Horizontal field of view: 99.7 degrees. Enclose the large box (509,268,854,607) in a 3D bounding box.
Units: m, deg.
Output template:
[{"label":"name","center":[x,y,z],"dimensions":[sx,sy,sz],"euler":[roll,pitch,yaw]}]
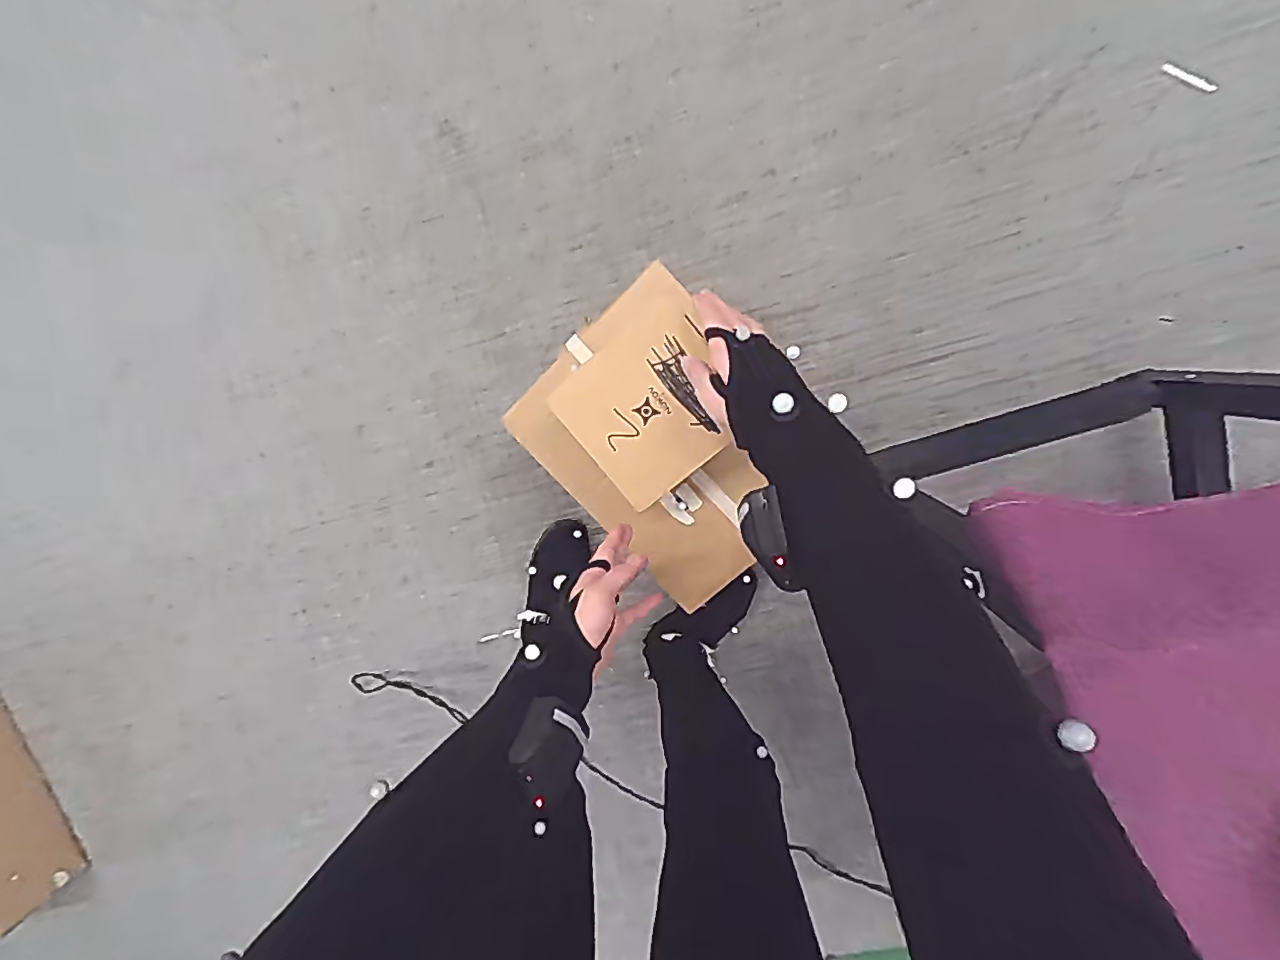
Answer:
[{"label":"large box","center":[0.063,-0.077,0.907],"dimensions":[0.320,0.320,0.408],"euler":[-43,97,12]}]
